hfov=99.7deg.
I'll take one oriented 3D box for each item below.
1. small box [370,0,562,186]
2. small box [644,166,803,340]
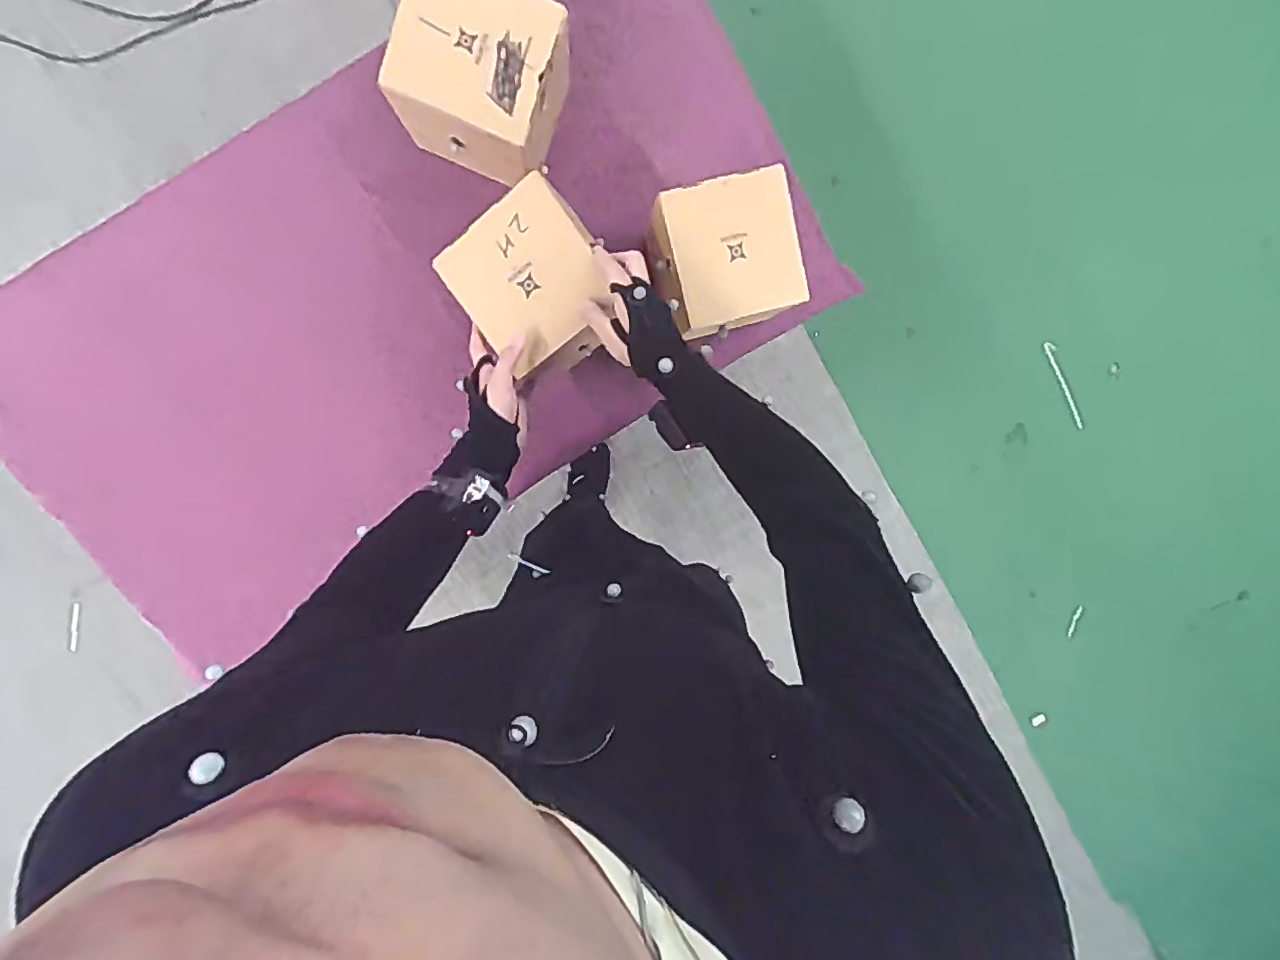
[{"bbox_3d":[-0.207,-0.510,0.695,0.179,0.176,0.168,20,96,-10],"label":"small box"},{"bbox_3d":[0.109,-0.304,0.767,0.168,0.176,0.179,-15,98,-4],"label":"small box"}]
